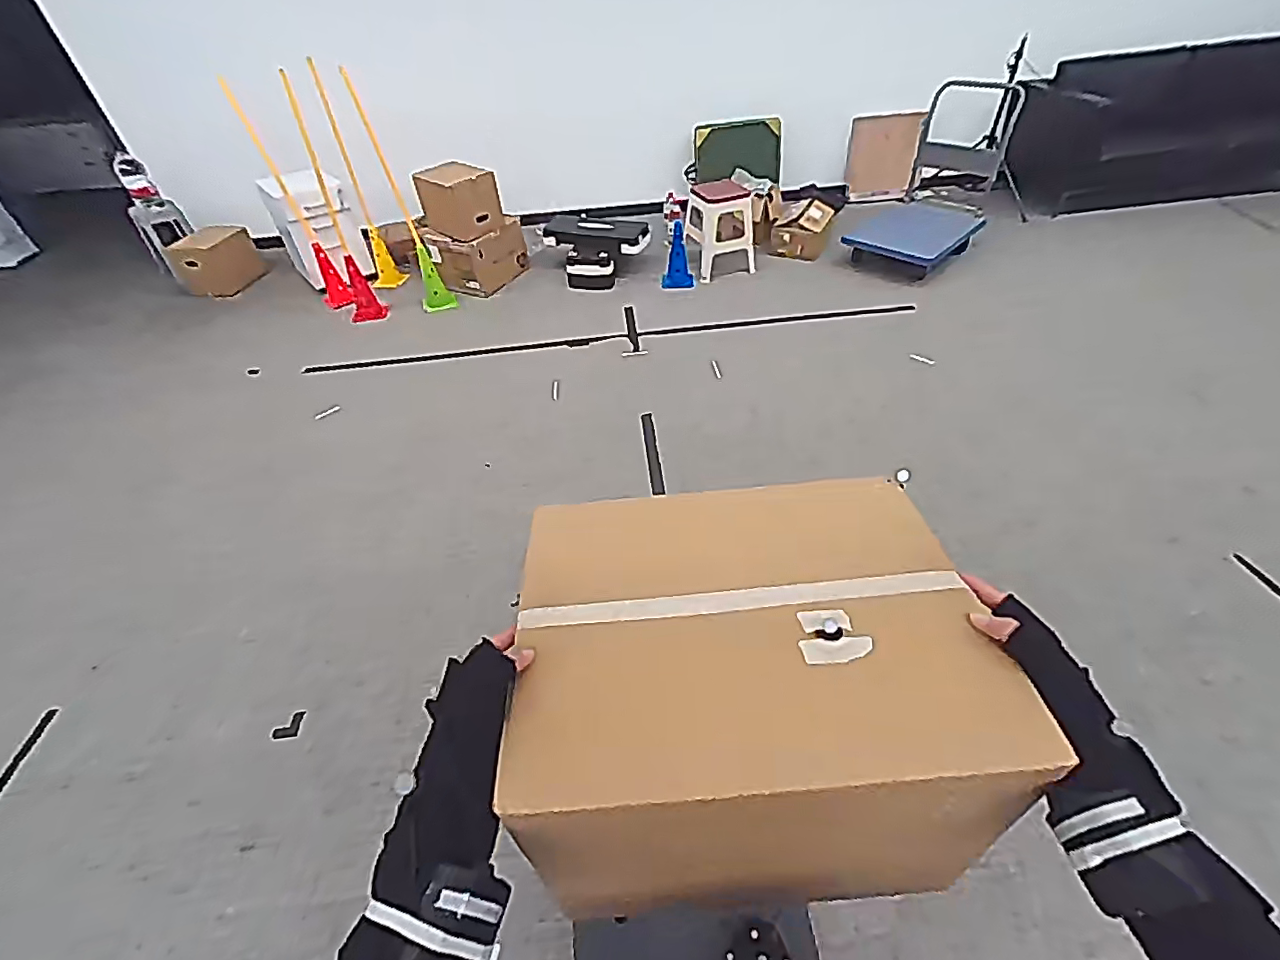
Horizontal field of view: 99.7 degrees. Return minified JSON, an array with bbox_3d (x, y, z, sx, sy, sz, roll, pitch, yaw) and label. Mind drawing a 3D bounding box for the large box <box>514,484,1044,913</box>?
[{"bbox_3d":[0.103,0.234,0.602,0.408,0.320,0.320,-5,40,0],"label":"large box"}]
